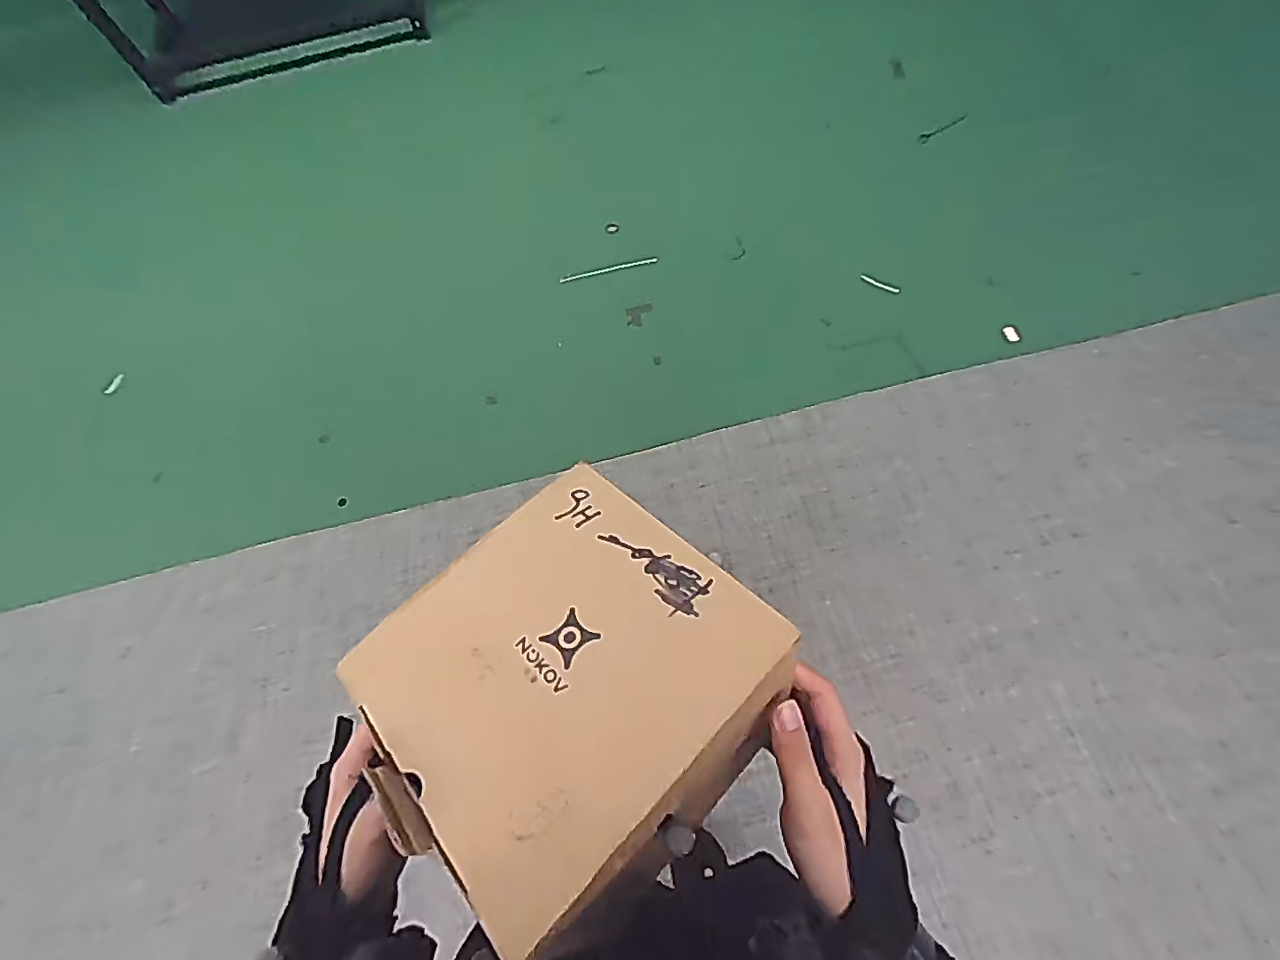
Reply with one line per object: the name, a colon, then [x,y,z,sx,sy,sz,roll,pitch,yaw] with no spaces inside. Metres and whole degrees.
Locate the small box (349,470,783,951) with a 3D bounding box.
small box: [-0.028,0.135,0.338,0.179,0.176,0.168,-42,57,-18]
